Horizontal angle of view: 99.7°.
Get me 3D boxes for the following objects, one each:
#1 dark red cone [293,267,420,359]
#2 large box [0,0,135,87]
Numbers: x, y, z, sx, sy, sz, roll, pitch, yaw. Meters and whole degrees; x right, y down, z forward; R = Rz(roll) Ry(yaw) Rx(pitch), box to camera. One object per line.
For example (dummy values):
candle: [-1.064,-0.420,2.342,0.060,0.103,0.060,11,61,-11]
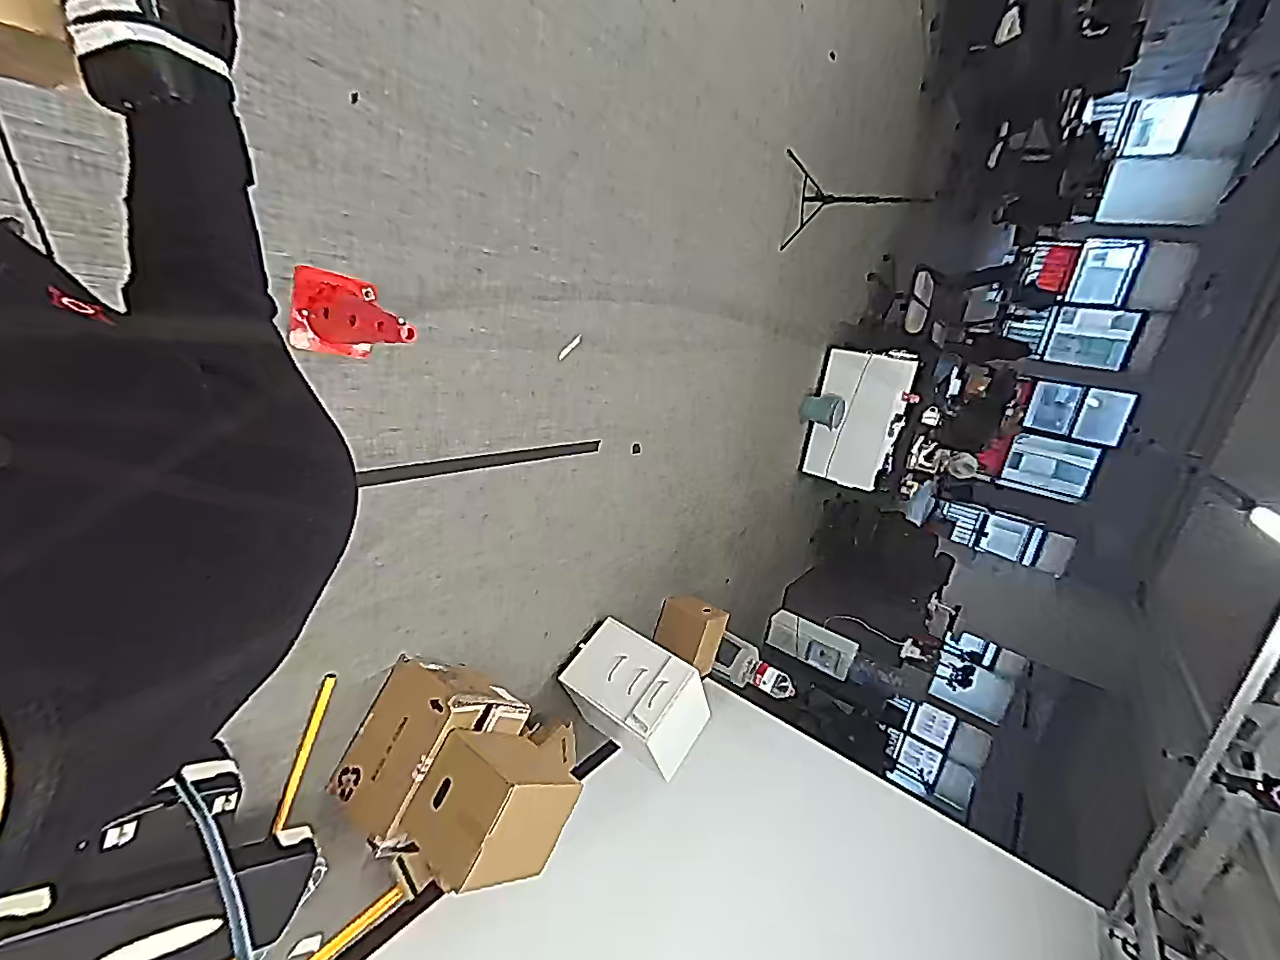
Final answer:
dark red cone: [-0.637,-0.364,1.272,0.201,0.394,0.202,-3,109,-53]
large box: [-0.564,-0.441,0.250,0.408,0.320,0.320,-16,123,-51]
